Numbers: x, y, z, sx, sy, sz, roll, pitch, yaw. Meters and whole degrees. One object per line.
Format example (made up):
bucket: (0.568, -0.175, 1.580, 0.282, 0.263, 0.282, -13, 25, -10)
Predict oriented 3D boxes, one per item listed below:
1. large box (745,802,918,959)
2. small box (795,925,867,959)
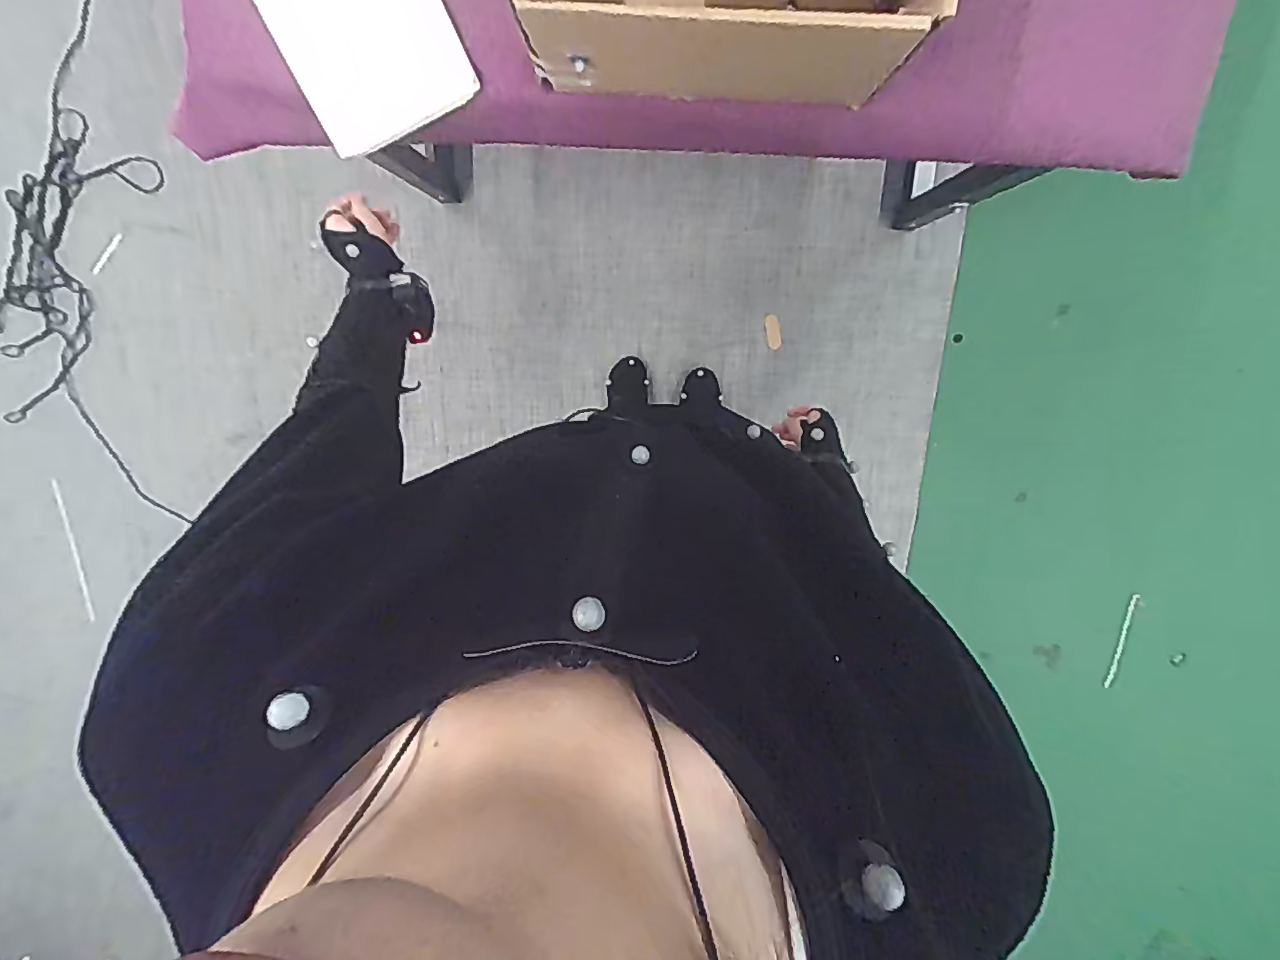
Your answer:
large box: (0.569, 1.259, 1.654, 0.408, 0.320, 0.320, -12, 104, 4)
small box: (0.516, 1.313, 1.417, 0.168, 0.176, 0.179, -11, 103, 5)
